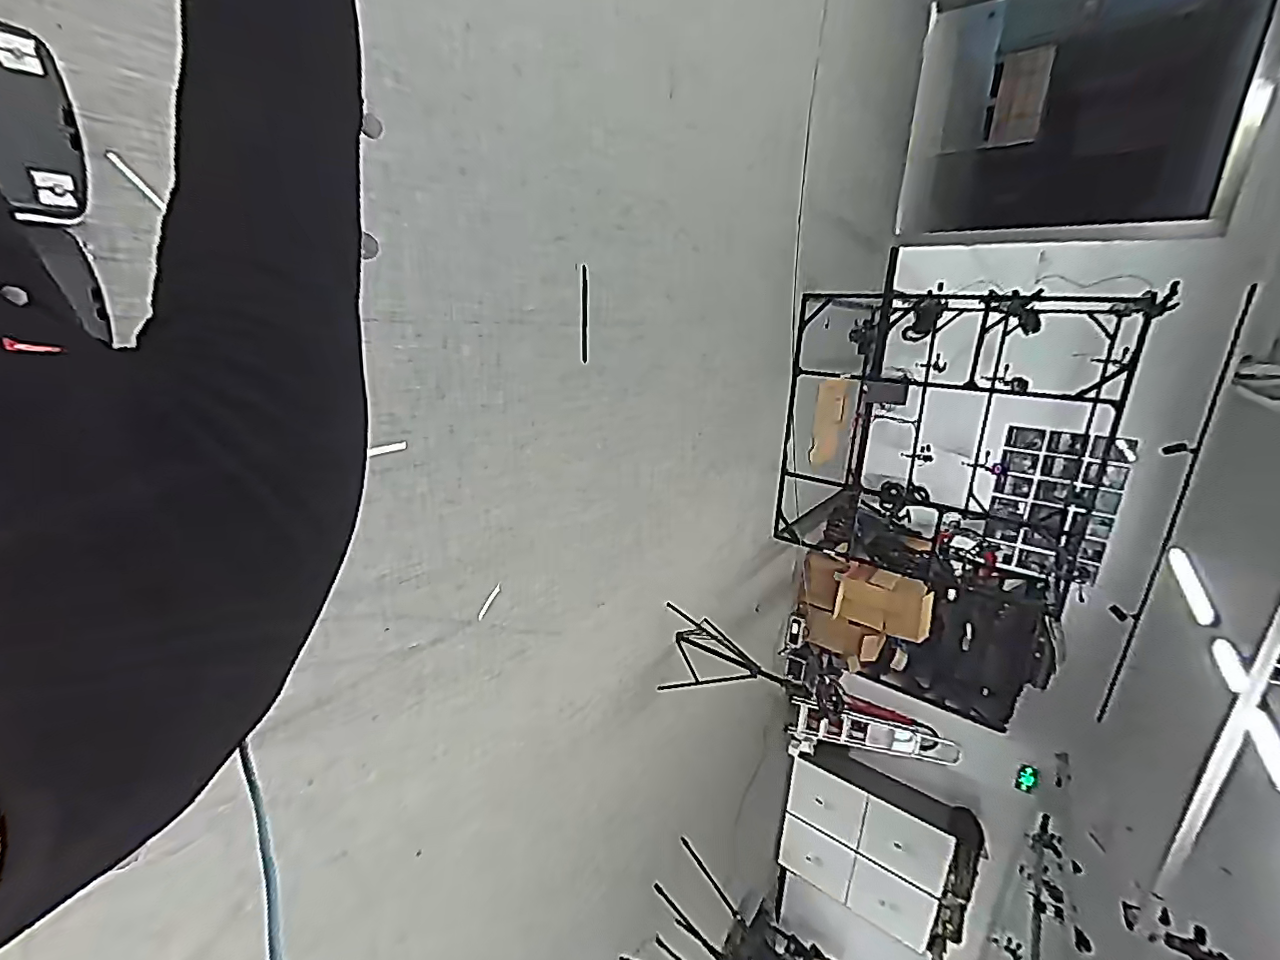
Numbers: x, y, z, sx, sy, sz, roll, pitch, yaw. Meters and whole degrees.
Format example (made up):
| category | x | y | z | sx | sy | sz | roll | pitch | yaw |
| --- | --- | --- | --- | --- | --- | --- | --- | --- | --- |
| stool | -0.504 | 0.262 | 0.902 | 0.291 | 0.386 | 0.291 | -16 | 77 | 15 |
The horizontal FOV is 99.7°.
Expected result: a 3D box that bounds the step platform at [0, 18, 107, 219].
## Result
| category | x | y | z | sx | sy | sz | roll | pitch | yaw |
| --- | --- | --- | --- | --- | --- | --- | --- | --- | --- |
| step platform | -1.221 | -0.563 | 0.749 | 0.684 | 0.204 | 0.286 | -22 | 119 | -51 |
